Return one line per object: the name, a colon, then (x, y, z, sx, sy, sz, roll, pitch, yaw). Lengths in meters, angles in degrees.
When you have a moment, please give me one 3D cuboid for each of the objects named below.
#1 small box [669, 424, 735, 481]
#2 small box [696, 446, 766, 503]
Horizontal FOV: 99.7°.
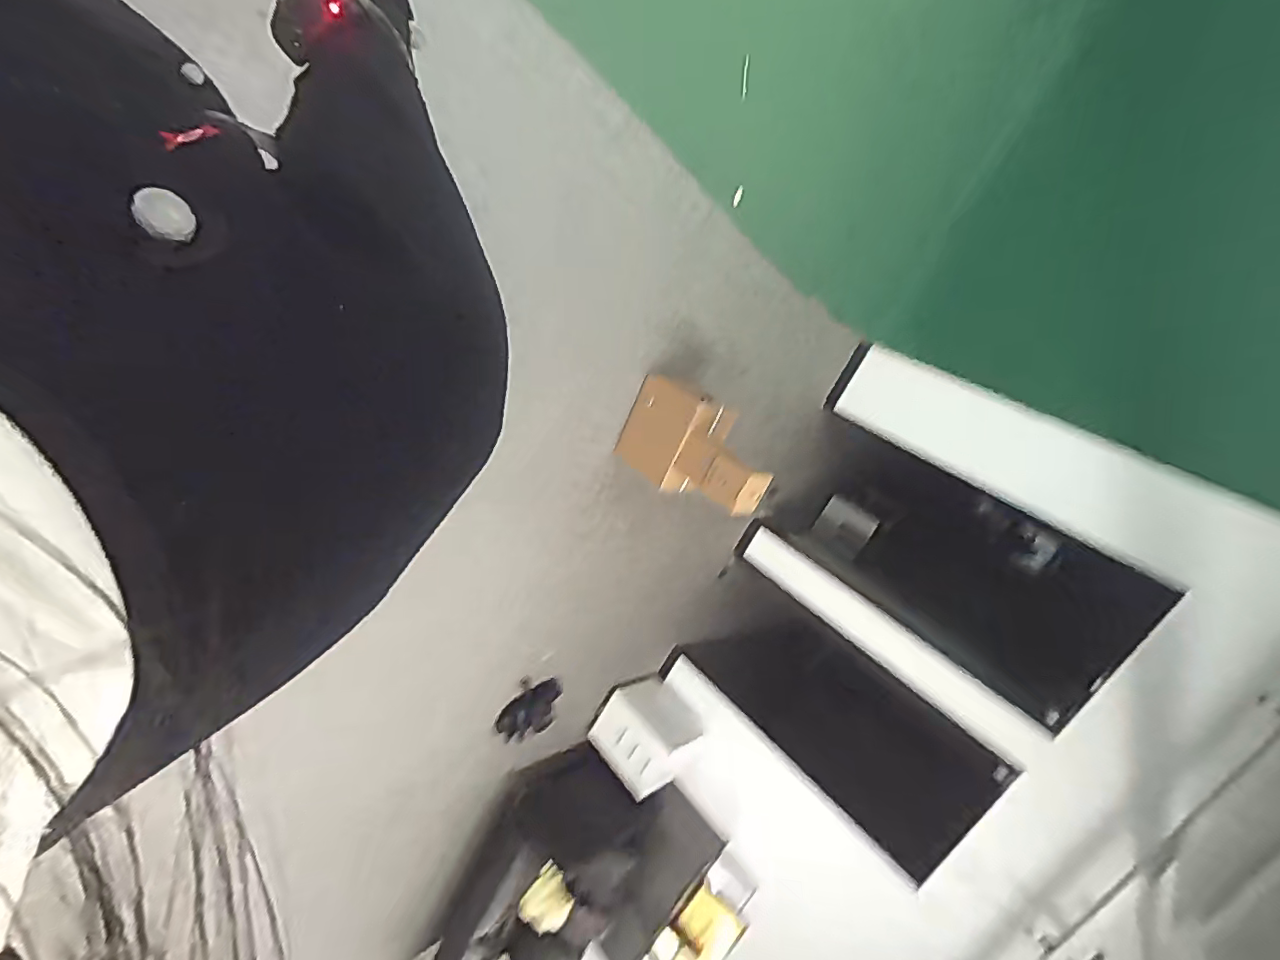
small box: (0.246, -0.109, 2.189, 0.168, 0.176, 0.179, 5, 119, -51)
small box: (0.349, -0.023, 2.096, 0.179, 0.176, 0.168, 2, 119, -50)
